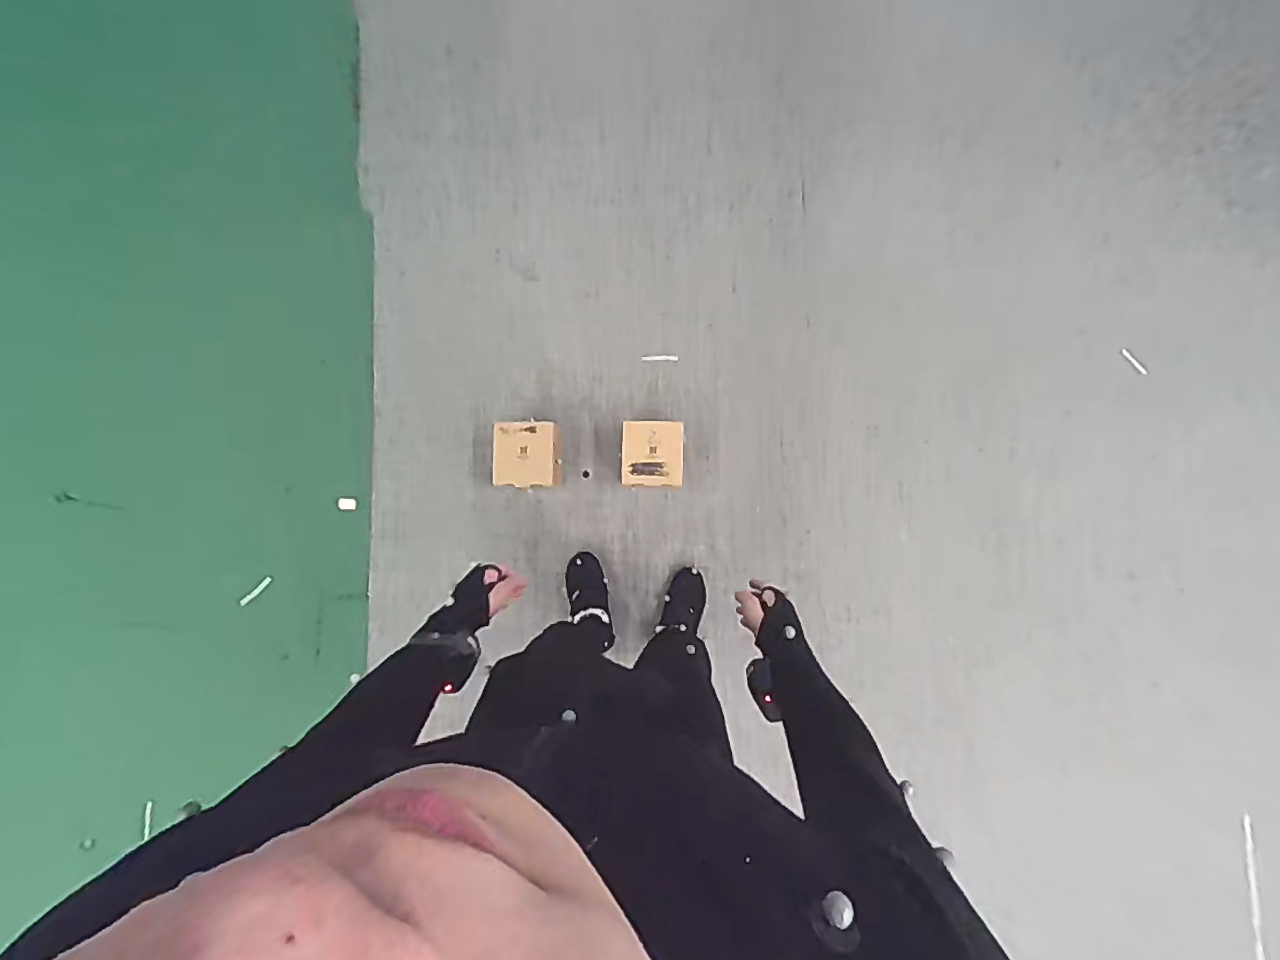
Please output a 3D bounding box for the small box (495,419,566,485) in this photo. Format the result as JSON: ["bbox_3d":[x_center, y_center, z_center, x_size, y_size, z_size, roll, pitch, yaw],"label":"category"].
[{"bbox_3d":[-0.306,-0.075,1.535,0.168,0.176,0.179,1,87,1],"label":"small box"}]
